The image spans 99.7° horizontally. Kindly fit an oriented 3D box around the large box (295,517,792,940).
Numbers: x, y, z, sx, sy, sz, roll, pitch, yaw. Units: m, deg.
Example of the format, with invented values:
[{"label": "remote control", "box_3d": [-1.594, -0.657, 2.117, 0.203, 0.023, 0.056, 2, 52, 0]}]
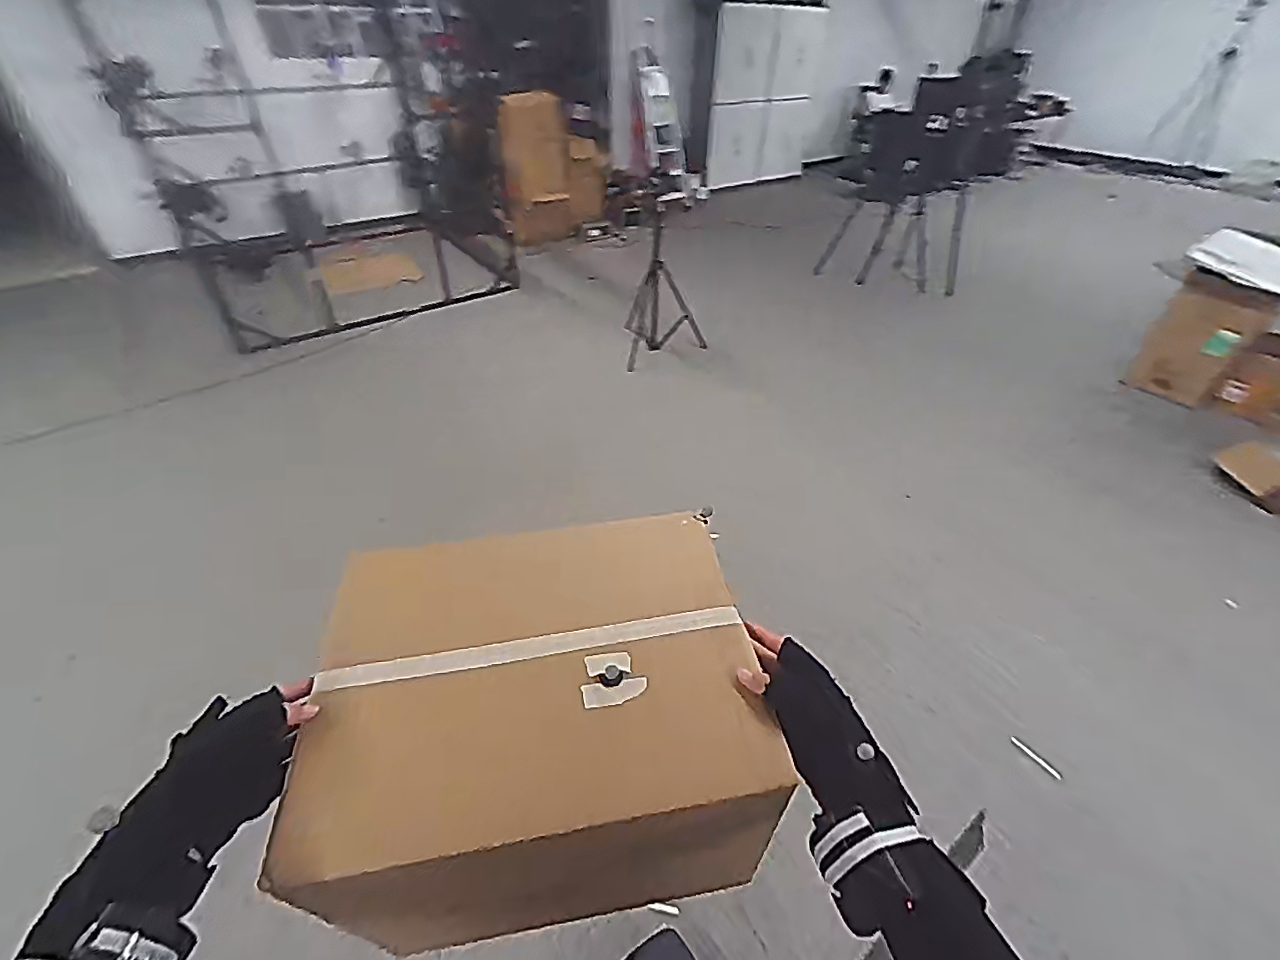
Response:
[{"label": "large box", "box_3d": [-0.091, 0.278, 0.634, 0.408, 0.320, 0.320, -6, 42, -7]}]
